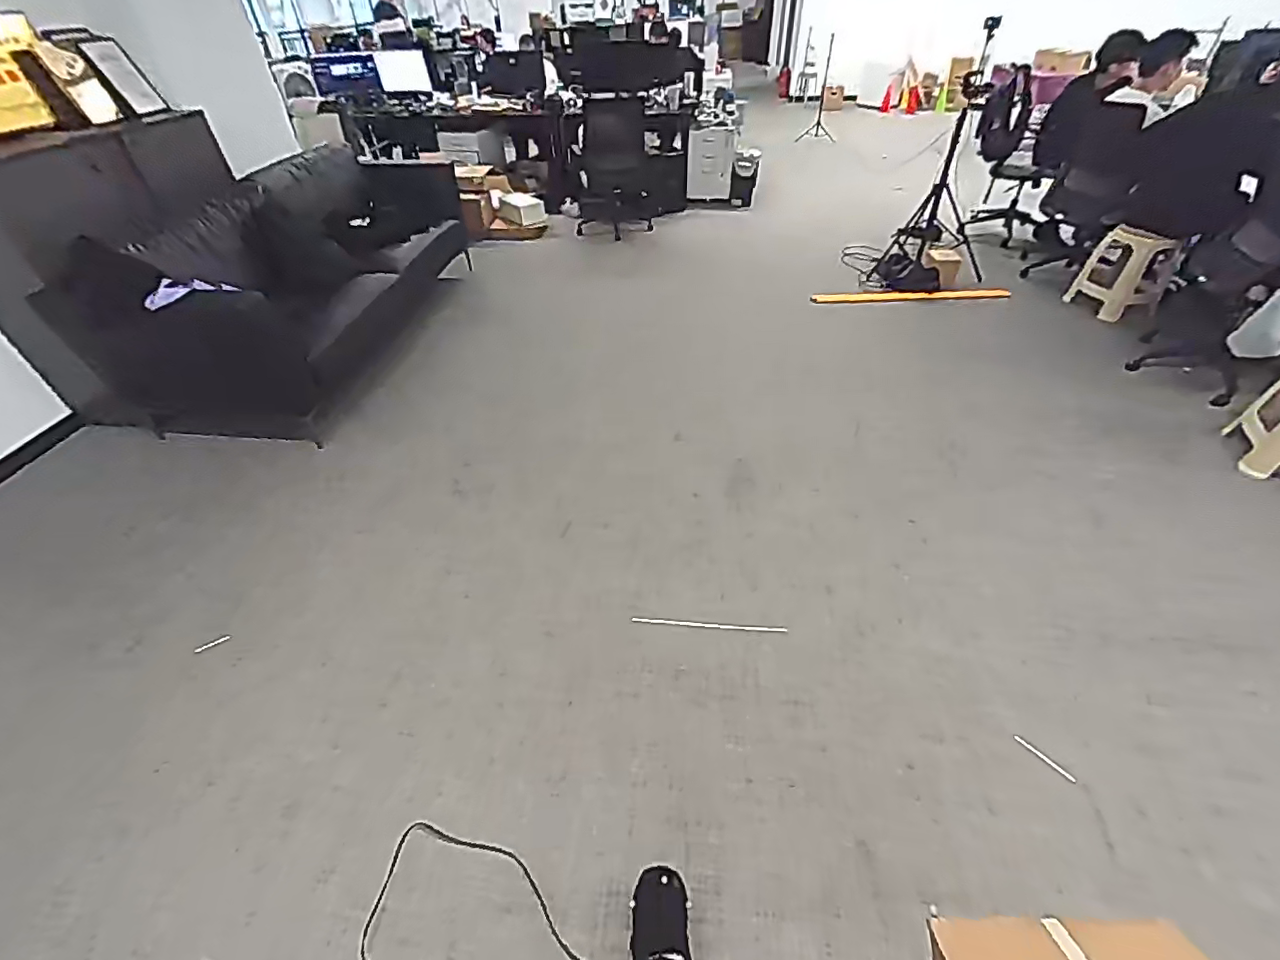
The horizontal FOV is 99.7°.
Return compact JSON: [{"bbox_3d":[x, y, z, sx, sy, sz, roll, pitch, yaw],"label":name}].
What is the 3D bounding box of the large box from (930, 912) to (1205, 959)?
[{"bbox_3d":[0.556,0.769,0.565,0.320,0.320,0.408,-6,1,9],"label":"large box"}]
